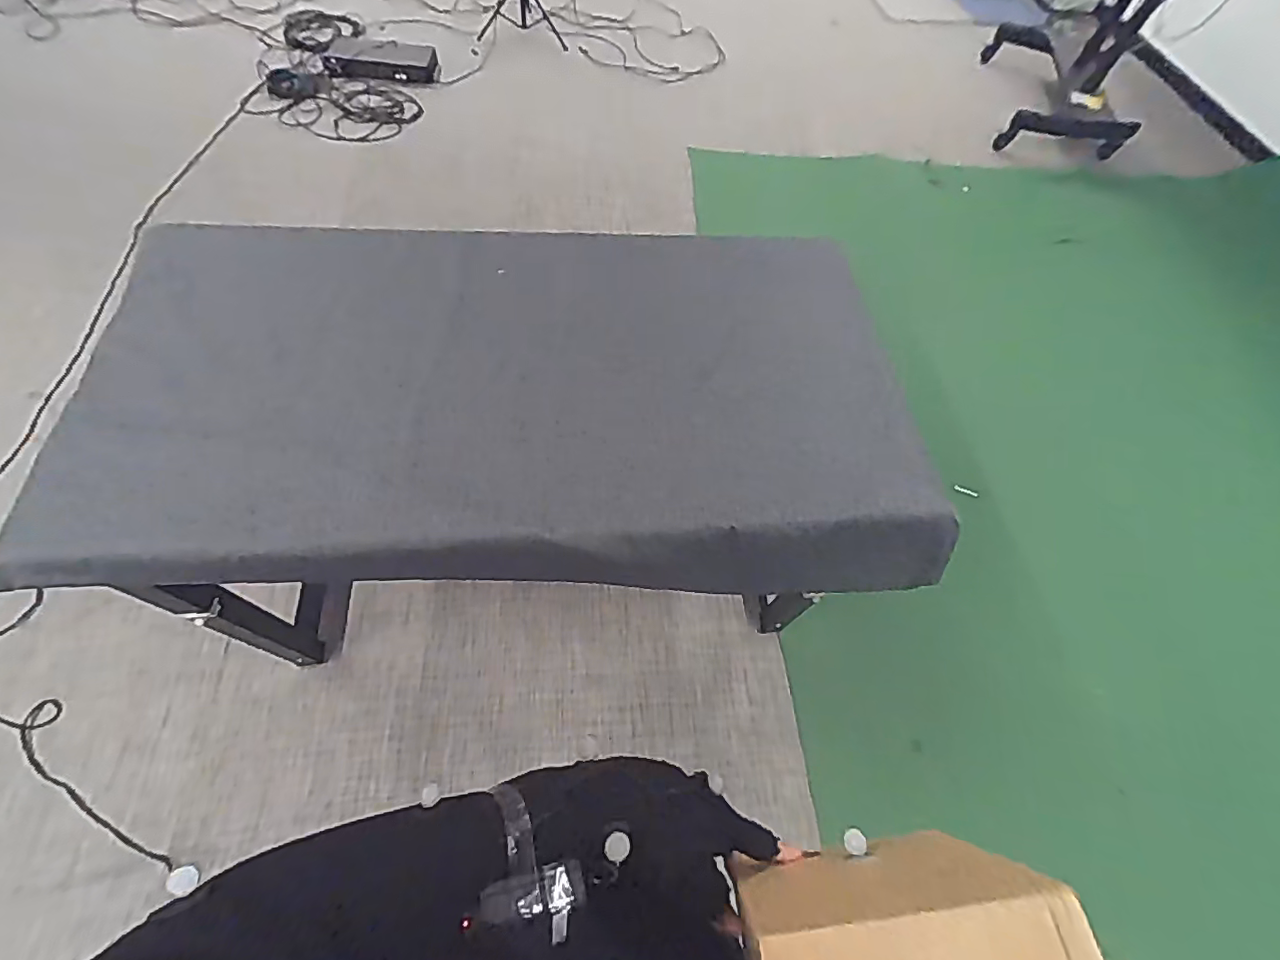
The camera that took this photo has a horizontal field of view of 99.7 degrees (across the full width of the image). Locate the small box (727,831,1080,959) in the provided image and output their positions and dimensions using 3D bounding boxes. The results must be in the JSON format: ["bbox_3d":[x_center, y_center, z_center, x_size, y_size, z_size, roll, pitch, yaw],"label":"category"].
[{"bbox_3d":[0.152,0.334,0.322,0.168,0.176,0.179,-8,65,0],"label":"small box"}]
